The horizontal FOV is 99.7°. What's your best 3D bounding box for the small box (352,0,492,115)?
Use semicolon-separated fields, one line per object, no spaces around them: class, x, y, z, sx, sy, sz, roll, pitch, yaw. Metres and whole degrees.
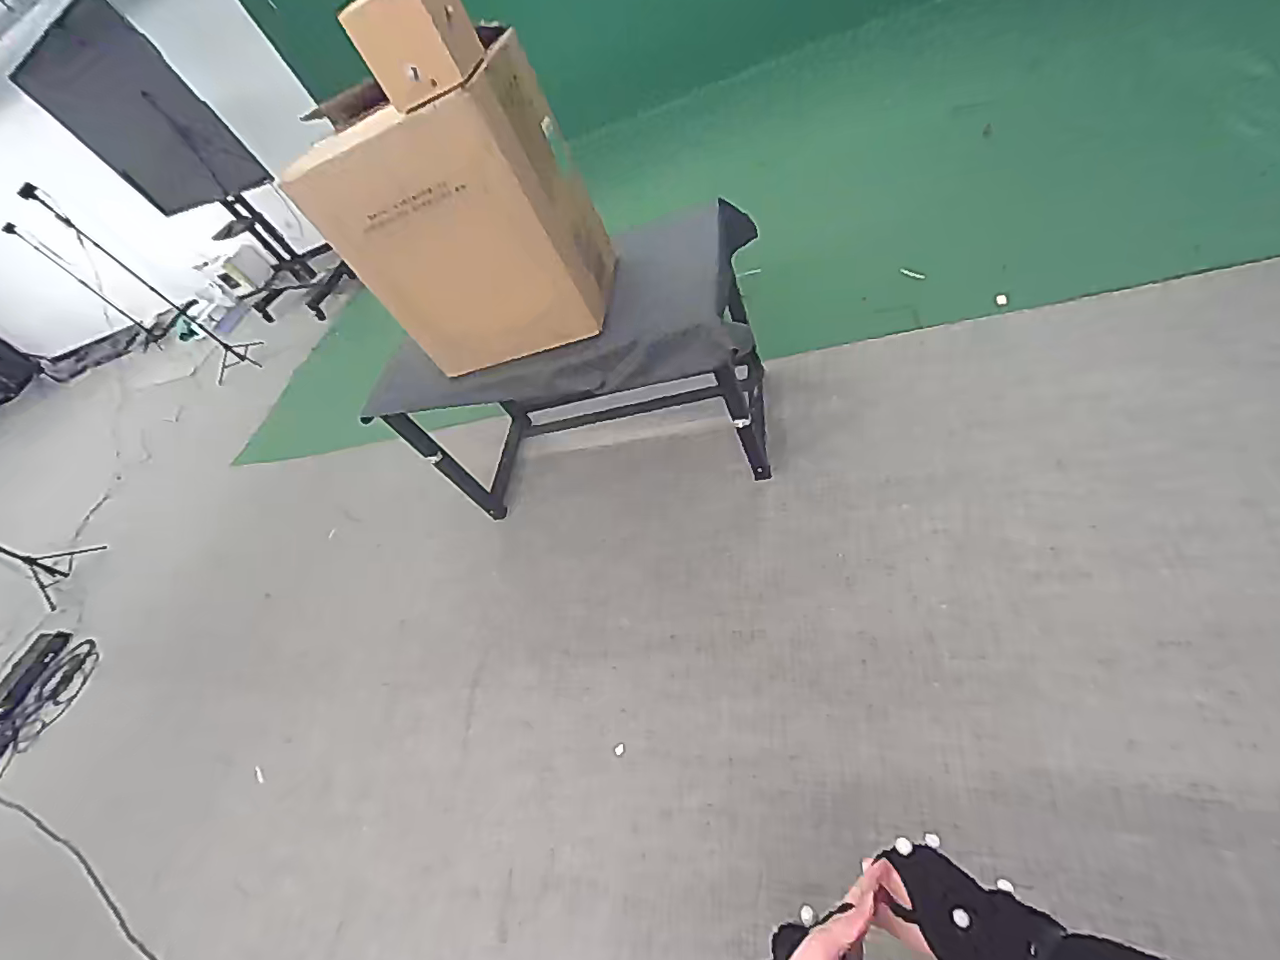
small box;-0.417;-0.866;1.070;0.168;0.176;0.179;-10;52;20
